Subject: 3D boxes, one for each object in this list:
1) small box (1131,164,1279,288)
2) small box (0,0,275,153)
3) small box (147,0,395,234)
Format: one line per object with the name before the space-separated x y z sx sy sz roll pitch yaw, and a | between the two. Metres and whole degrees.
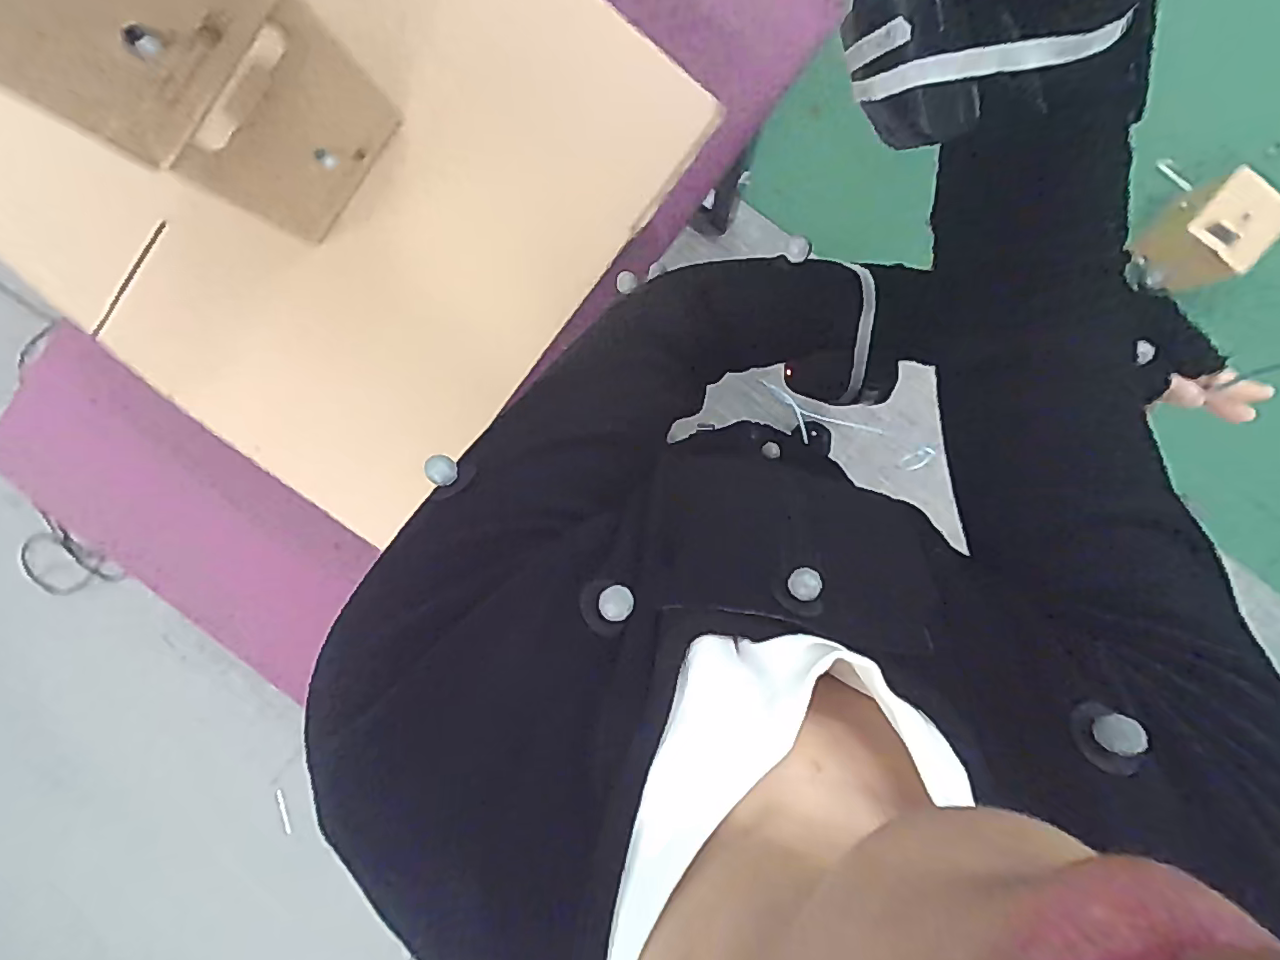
small box | 1.327 -0.585 1.274 0.168 0.176 0.179 39 95 -1
small box | -0.380 -0.344 0.321 0.179 0.176 0.168 38 96 0
small box | -0.367 -0.358 0.483 0.179 0.176 0.168 38 97 1
